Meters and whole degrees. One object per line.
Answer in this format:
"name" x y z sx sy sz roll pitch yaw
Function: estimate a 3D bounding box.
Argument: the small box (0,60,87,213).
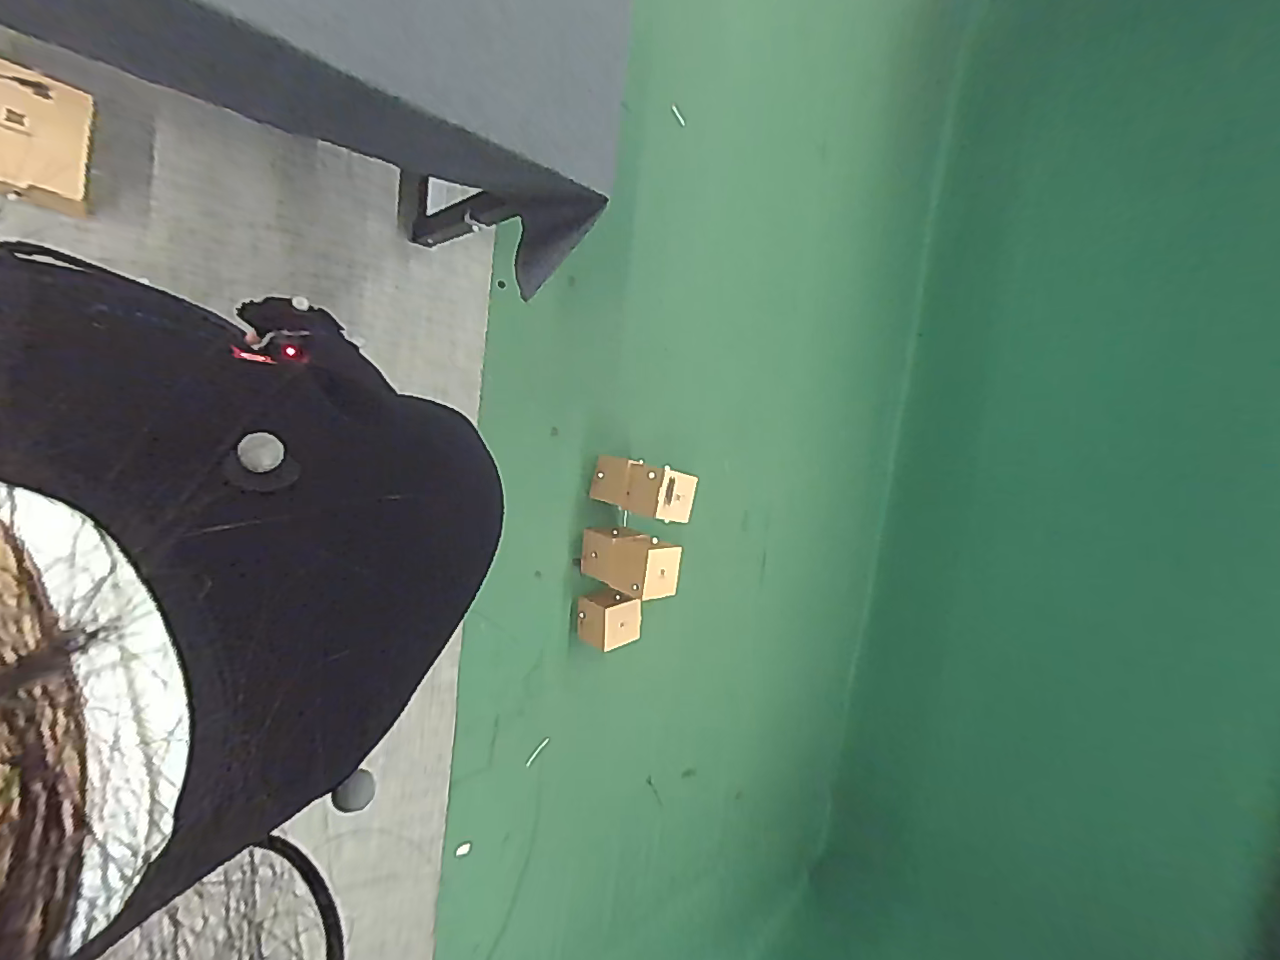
"small box" -1.028 -0.562 0.881 0.168 0.176 0.179 6 95 -45

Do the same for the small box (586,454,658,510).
"small box" -0.065 0.005 1.974 0.179 0.176 0.168 15 87 -44

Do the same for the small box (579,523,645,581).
"small box" -0.106 0.260 1.989 0.179 0.176 0.168 -3 101 -45

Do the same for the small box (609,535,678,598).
"small box" 0.010 0.292 1.880 0.168 0.176 0.179 1 99 -45

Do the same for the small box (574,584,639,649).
"small box" -0.125 0.504 2.026 0.179 0.176 0.168 -7 104 -44
